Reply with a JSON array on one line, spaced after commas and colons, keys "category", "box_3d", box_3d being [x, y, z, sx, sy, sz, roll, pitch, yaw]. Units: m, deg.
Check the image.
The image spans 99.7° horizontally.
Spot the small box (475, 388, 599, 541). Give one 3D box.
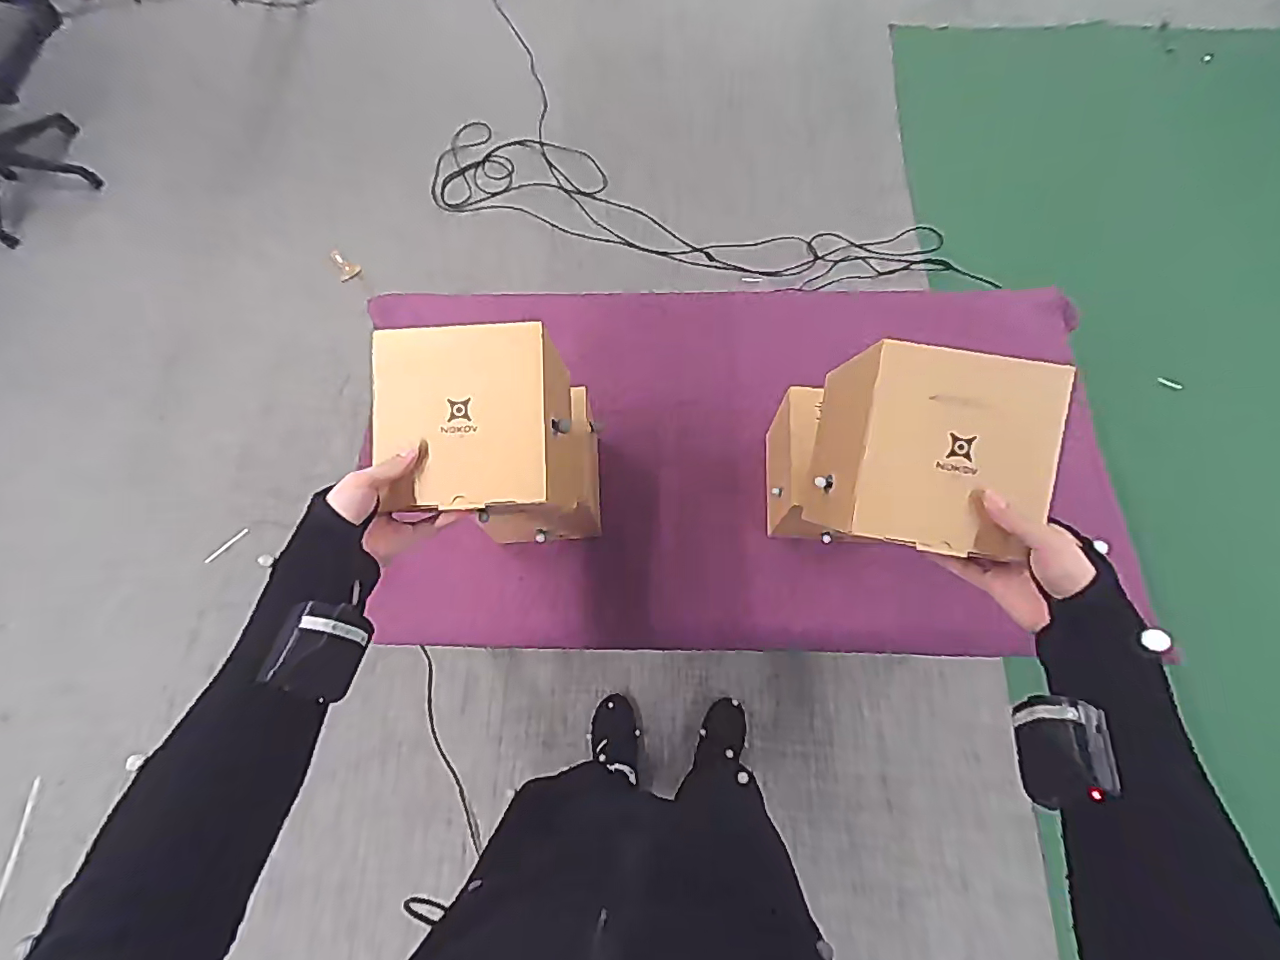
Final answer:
[{"category": "small box", "box_3d": [-0.152, -0.017, 0.803, 0.168, 0.176, 0.179, -4, 69, 1]}]

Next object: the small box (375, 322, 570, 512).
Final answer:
[{"category": "small box", "box_3d": [-0.171, -0.058, 0.597, 0.168, 0.176, 0.179, -3, 85, 1]}]

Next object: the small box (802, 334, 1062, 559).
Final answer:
[{"category": "small box", "box_3d": [0.274, -0.031, 0.551, 0.168, 0.176, 0.179, 9, 91, 3]}]
